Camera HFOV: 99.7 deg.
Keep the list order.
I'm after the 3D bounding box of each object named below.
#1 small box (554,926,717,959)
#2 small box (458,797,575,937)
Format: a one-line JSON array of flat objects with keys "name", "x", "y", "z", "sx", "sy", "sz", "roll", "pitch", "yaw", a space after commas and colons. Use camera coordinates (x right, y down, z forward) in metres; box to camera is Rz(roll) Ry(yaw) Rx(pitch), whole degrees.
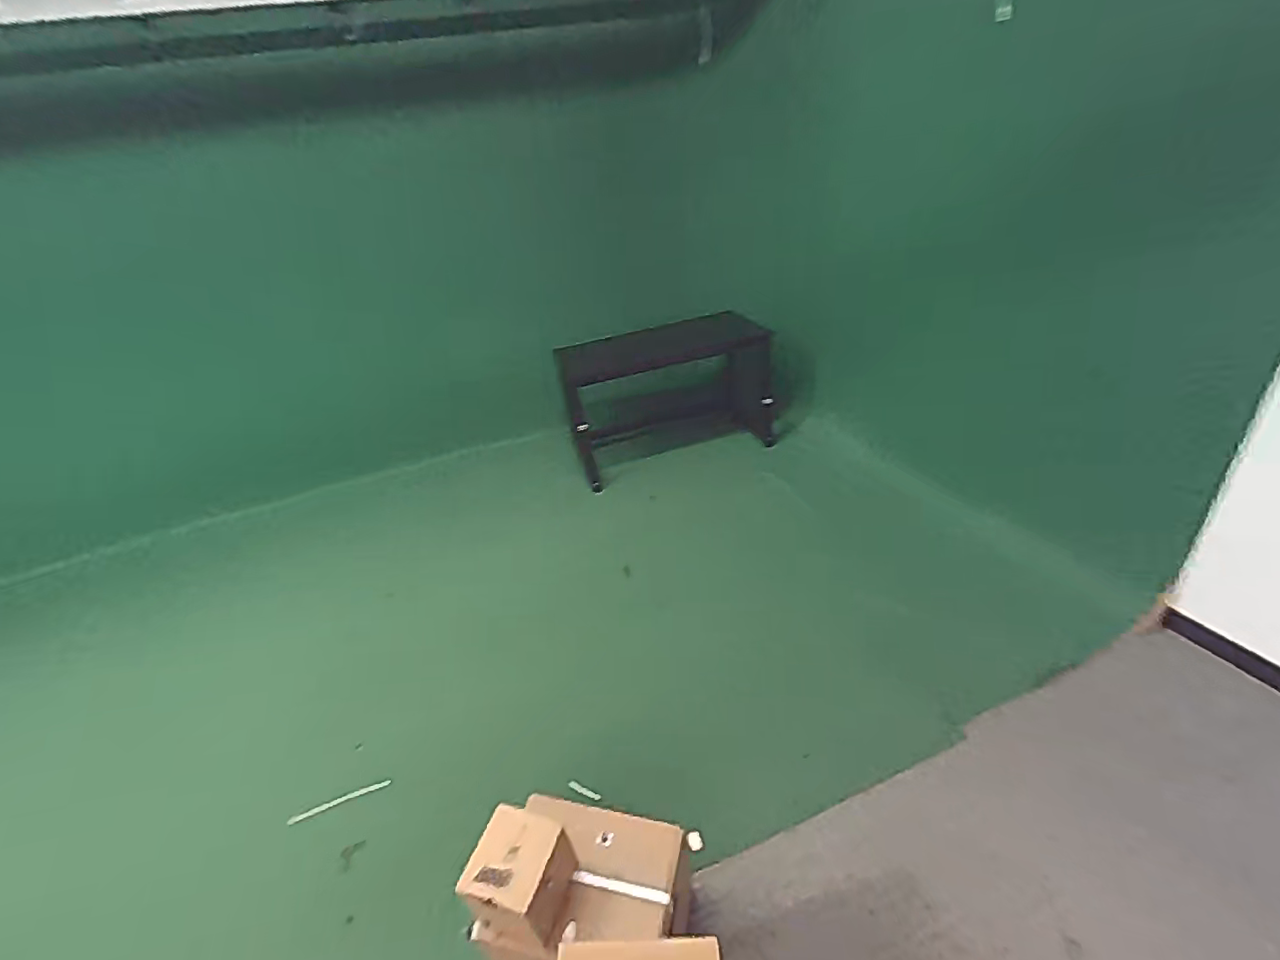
[{"name": "small box", "x": -0.001, "y": 0.577, "z": 0.540, "sx": 0.168, "sy": 0.176, "sz": 0.179, "roll": -4, "pitch": 41, "yaw": 2}, {"name": "small box", "x": -0.256, "y": 0.837, "z": 1.169, "sx": 0.168, "sy": 0.176, "sz": 0.179, "roll": 5, "pitch": 34, "yaw": 20}]
